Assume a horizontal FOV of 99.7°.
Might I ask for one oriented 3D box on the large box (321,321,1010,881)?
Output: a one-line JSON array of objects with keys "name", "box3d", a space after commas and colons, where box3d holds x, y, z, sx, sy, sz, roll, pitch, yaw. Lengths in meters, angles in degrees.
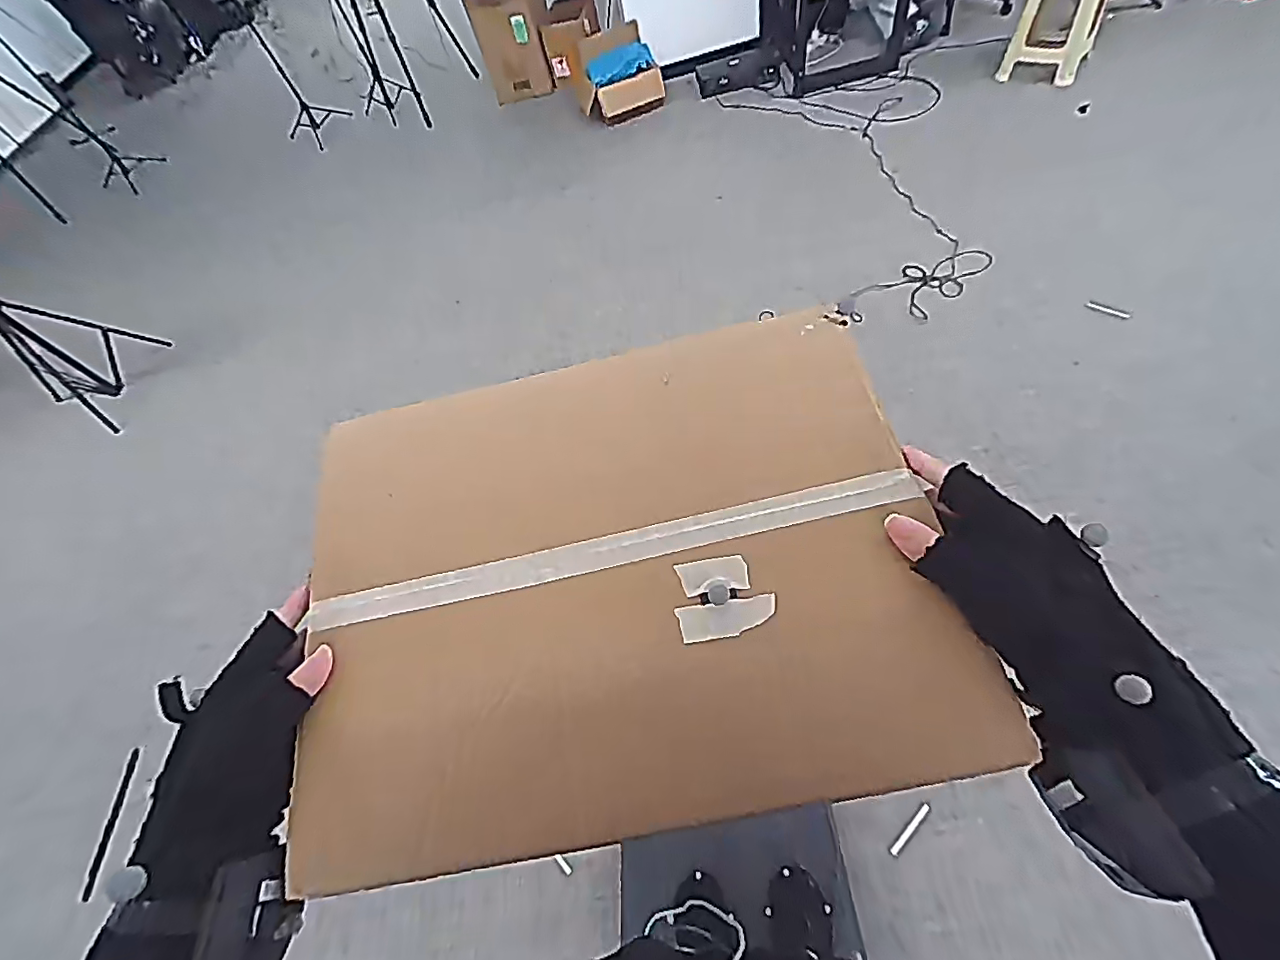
[{"name": "large box", "box3d": [0.003, 0.116, 0.499, 0.408, 0.320, 0.320, -13, 64, 3]}]
